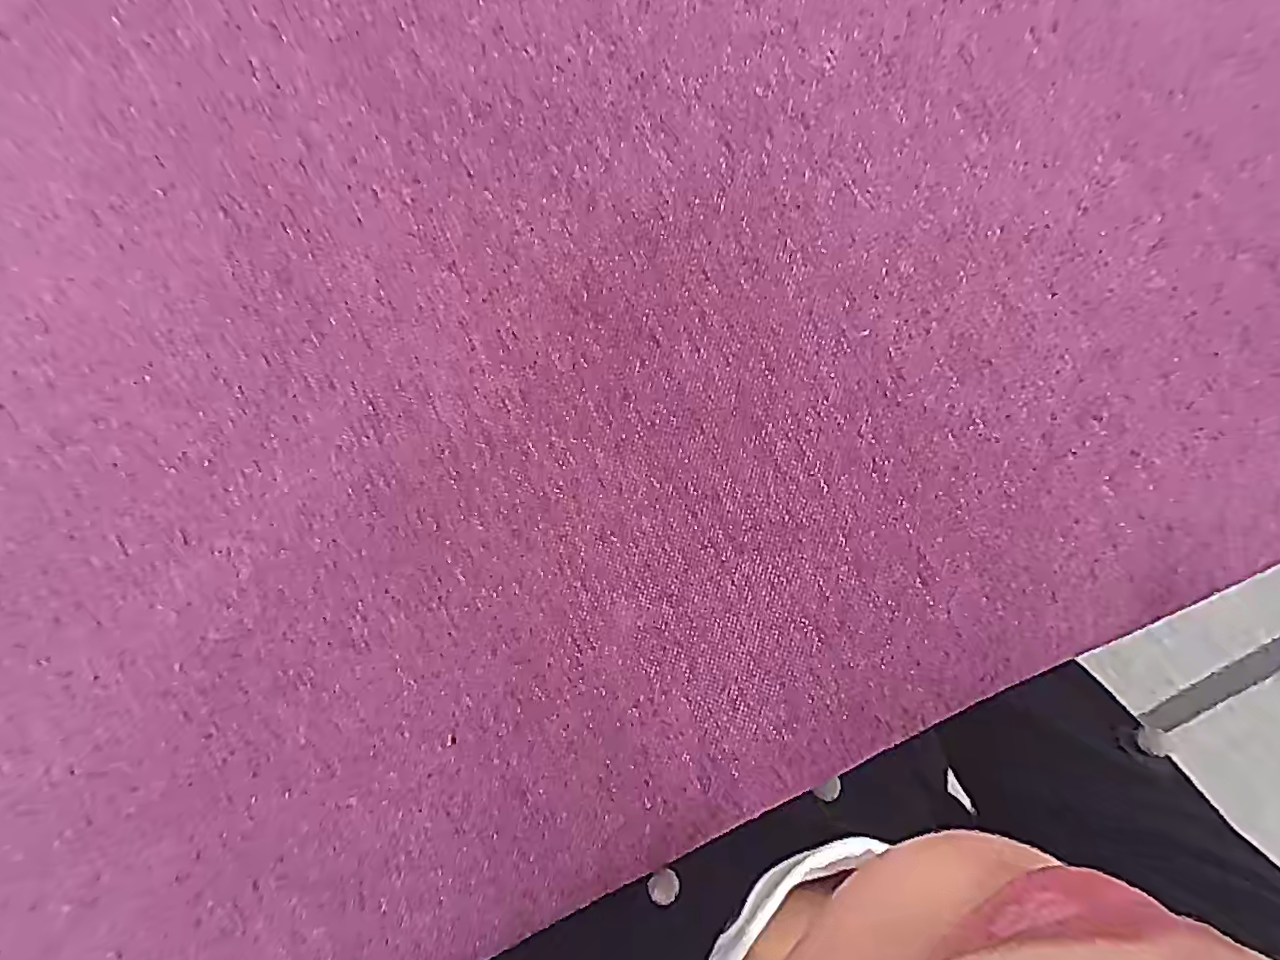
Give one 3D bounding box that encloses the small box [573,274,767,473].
[{"bbox_3d":[0.048,-0.121,0.702,0.179,0.176,0.168,-36,82,8],"label":"small box"}]
